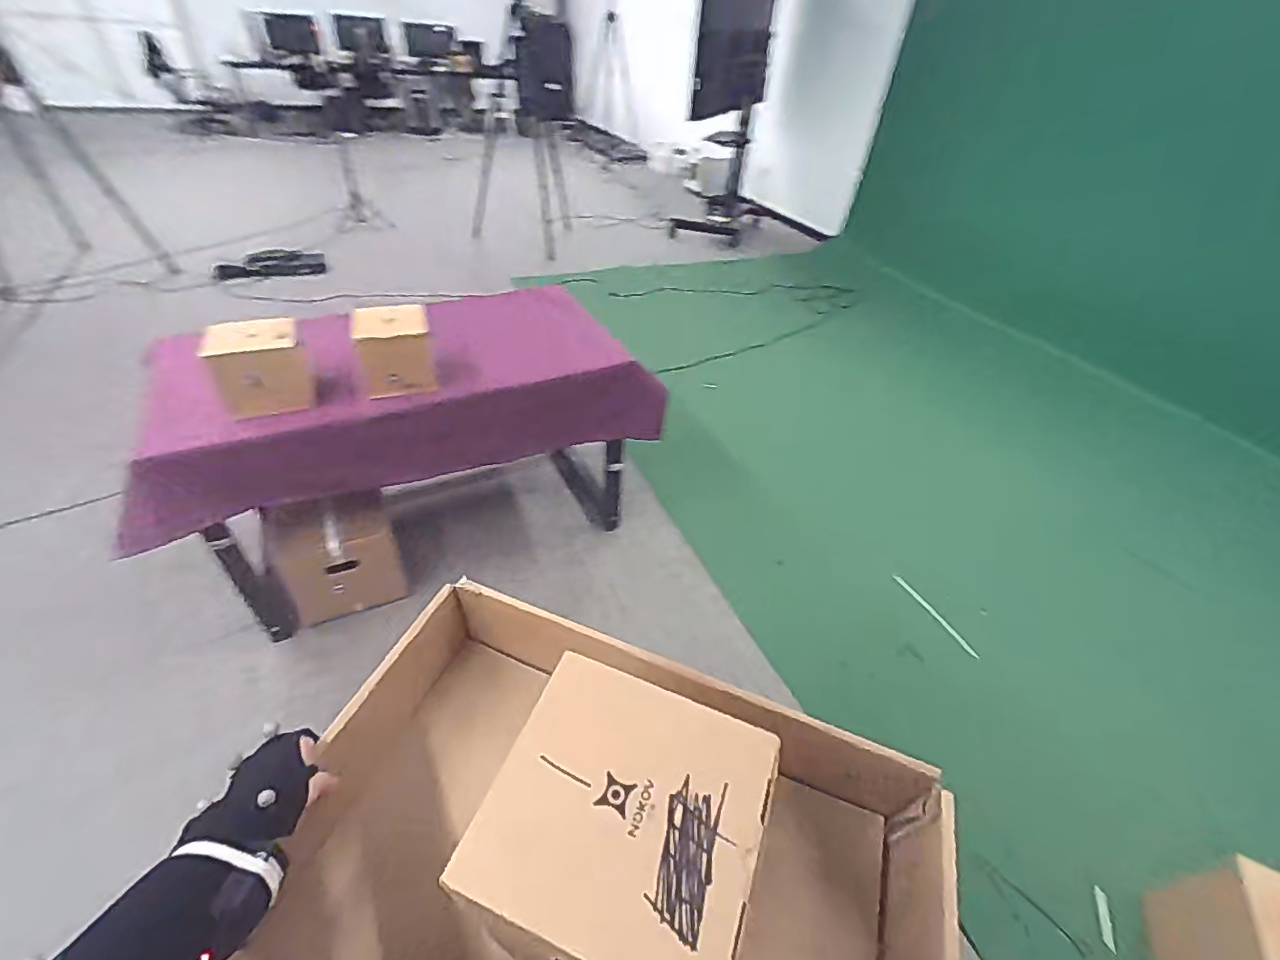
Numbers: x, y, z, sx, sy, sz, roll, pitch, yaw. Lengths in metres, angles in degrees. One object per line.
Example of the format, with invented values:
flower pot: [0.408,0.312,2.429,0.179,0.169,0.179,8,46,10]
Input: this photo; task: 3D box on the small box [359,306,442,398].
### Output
small box: [-0.619,-0.335,1.407,0.168,0.176,0.179,-10,44,-17]

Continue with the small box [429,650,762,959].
small box: [-0.024,0.268,0.415,0.179,0.176,0.168,17,45,13]

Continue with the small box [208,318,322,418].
small box: [-0.887,-0.267,1.296,0.179,0.176,0.168,-14,45,-20]
